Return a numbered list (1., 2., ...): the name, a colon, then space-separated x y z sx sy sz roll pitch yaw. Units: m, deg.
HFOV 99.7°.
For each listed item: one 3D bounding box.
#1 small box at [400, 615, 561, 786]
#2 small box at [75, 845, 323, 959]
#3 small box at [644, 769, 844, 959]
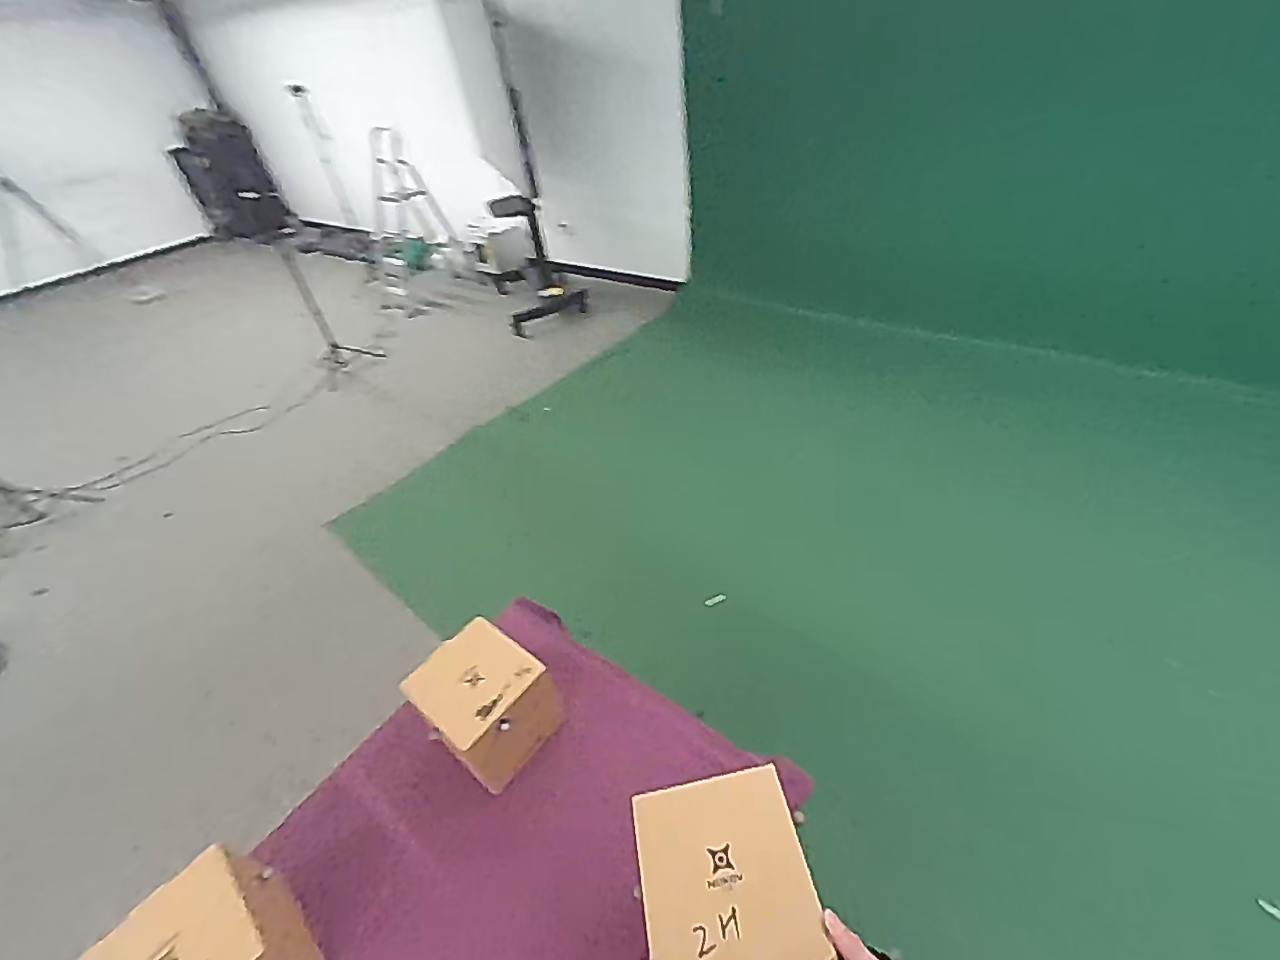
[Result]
1. small box: -0.258 0.368 0.903 0.179 0.176 0.168 25 51 31
2. small box: -0.537 0.611 0.671 0.179 0.176 0.168 27 52 32
3. small box: 0.105 0.452 0.584 0.168 0.176 0.179 -13 38 1
